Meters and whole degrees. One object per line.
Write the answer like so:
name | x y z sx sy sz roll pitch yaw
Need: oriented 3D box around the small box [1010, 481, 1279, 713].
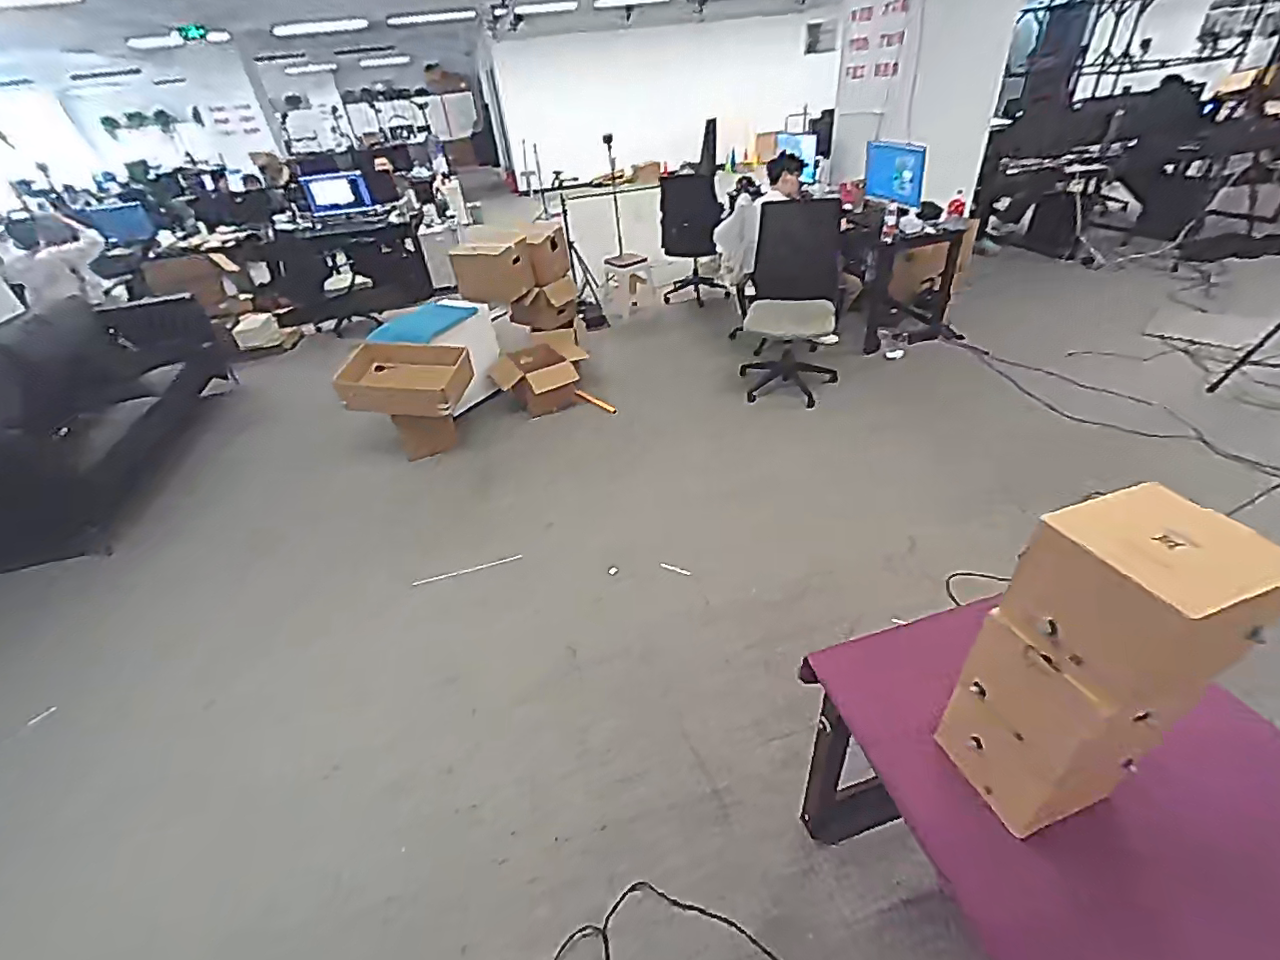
small box | 0.574 0.130 0.618 0.179 0.176 0.168 -14 36 -11

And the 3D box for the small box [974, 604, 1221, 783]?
small box | 0.580 0.262 0.713 0.179 0.176 0.168 -14 36 -12

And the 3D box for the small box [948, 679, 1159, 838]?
small box | 0.596 0.394 0.810 0.179 0.176 0.168 -15 36 -12
